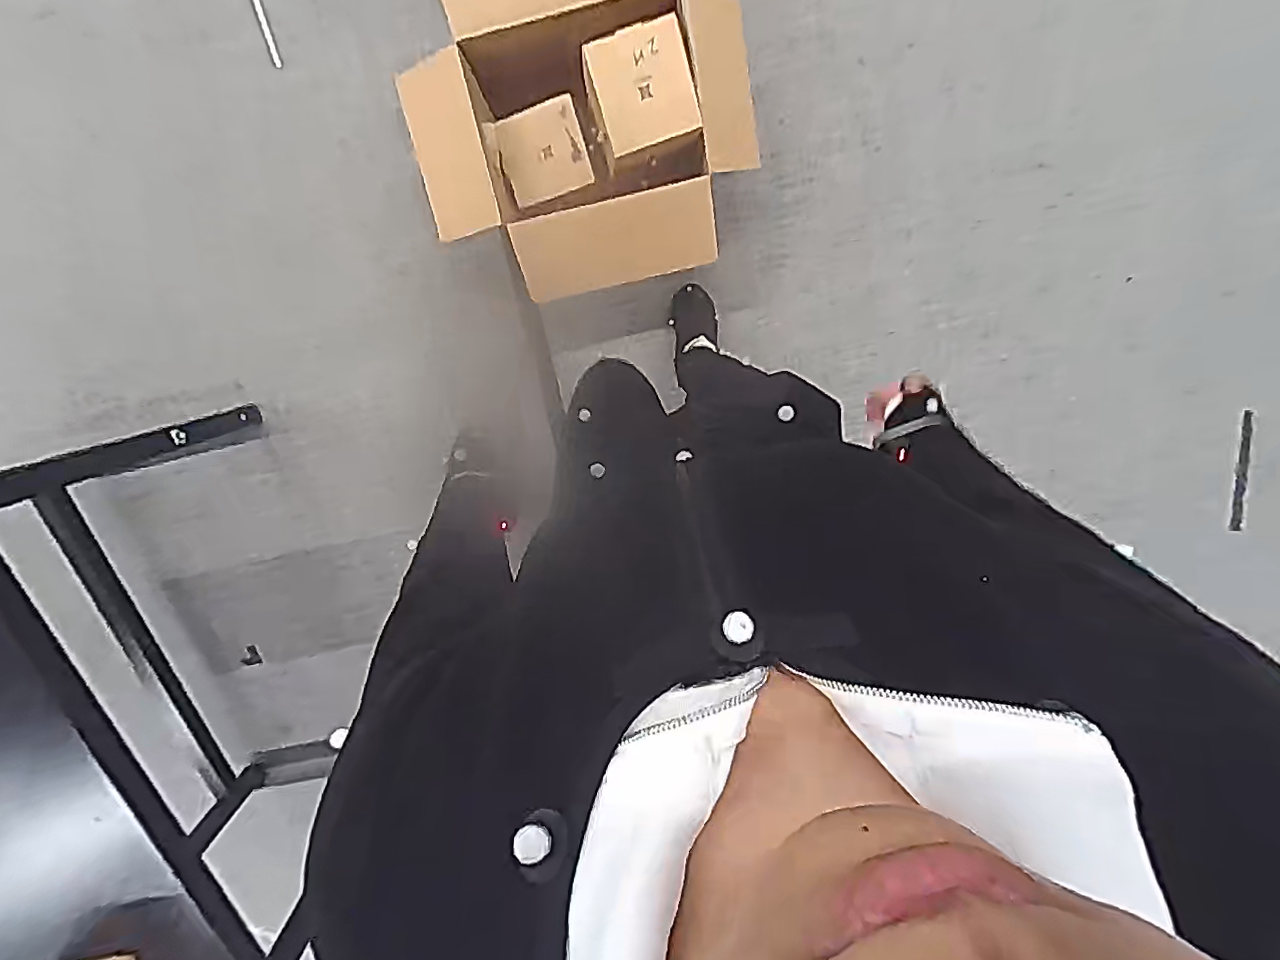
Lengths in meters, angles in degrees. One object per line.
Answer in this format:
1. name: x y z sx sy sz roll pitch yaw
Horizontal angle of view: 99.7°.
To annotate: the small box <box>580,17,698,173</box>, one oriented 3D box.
1. small box: -0.003 -0.691 1.000 0.168 0.176 0.179 -18 108 2
